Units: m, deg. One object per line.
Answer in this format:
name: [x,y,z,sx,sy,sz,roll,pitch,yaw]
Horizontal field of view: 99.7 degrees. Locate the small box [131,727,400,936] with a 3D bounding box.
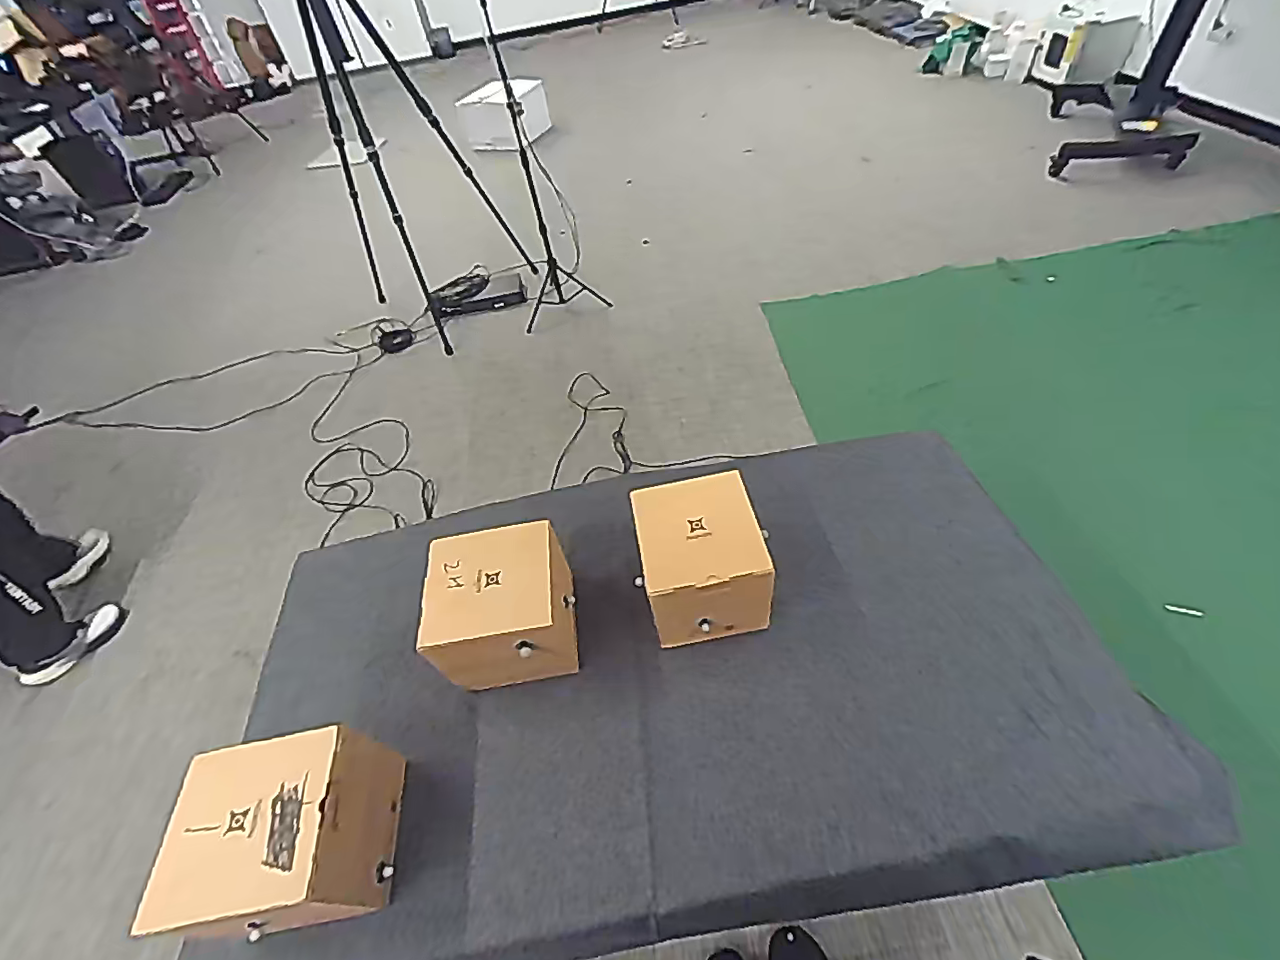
small box: [-0.406,0.409,0.630,0.179,0.176,0.168,-11,49,0]

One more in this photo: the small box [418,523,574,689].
small box: [-0.194,0.186,0.785,0.179,0.176,0.168,-10,50,0]

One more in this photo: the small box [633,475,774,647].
small box: [0.088,0.121,0.802,0.168,0.176,0.179,-11,50,-1]
